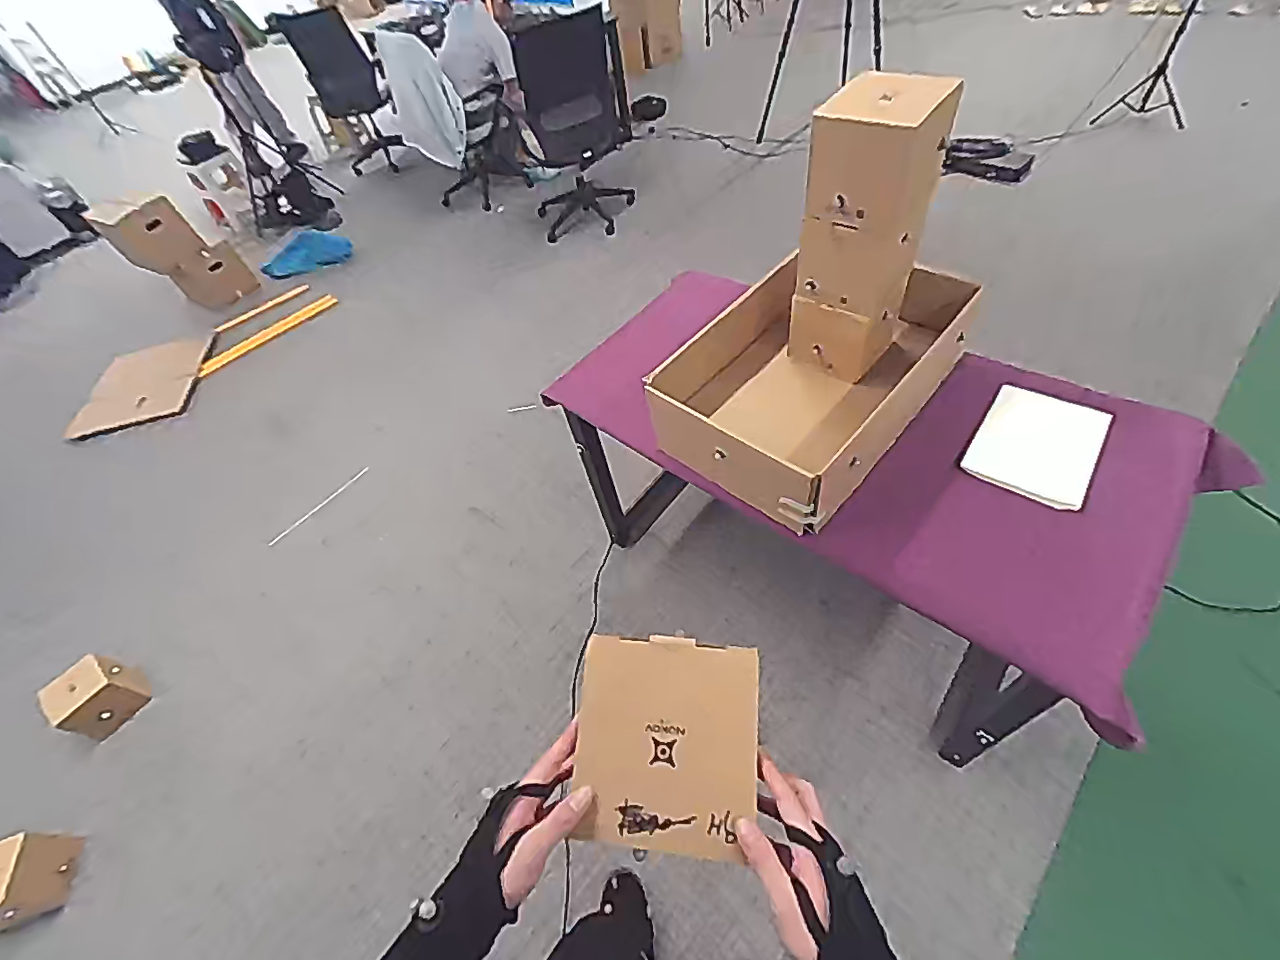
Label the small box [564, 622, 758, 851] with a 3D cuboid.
[{"bbox_3d":[0.031,0.253,0.570,0.168,0.176,0.179,3,72,10],"label":"small box"}]

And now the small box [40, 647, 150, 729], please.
[{"bbox_3d":[-1.756,0.680,1.752,0.179,0.176,0.168,28,61,28],"label":"small box"}]

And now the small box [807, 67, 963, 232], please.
[{"bbox_3d":[0.393,-0.547,0.898,0.168,0.176,0.179,30,65,28],"label":"small box"}]

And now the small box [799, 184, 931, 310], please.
[{"bbox_3d":[0.417,-0.453,1.029,0.168,0.176,0.179,30,64,28],"label":"small box"}]

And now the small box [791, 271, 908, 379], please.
[{"bbox_3d":[0.437,-0.351,1.156,0.168,0.176,0.179,31,65,28],"label":"small box"}]
